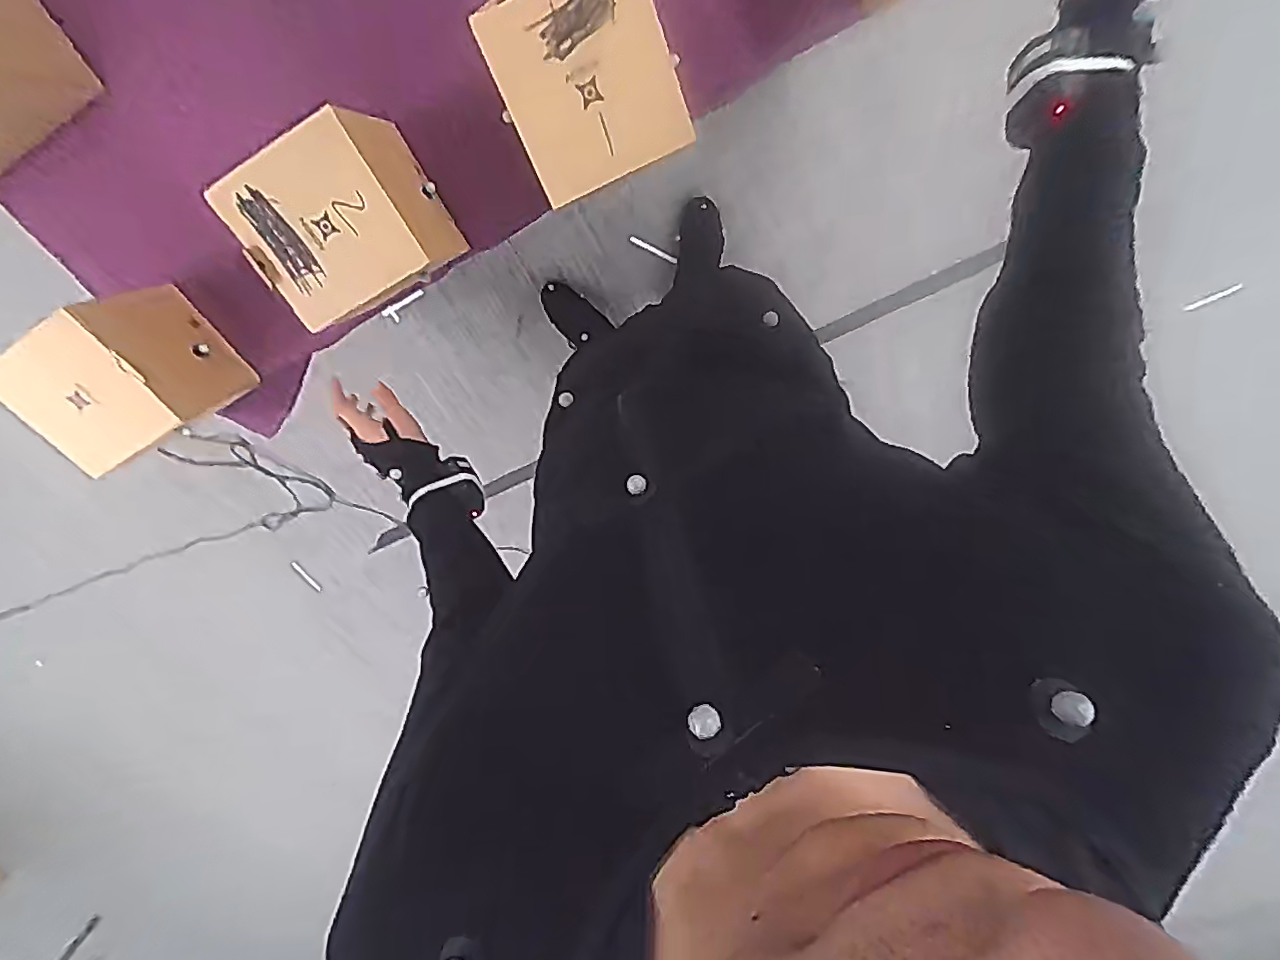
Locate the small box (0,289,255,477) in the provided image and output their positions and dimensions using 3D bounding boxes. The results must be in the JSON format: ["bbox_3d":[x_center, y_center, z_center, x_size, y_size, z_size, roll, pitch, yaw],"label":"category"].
[{"bbox_3d":[-0.692,-0.139,0.745,0.179,0.176,0.168,-27,115,13],"label":"small box"}]

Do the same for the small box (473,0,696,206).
[{"bbox_3d":[-0.050,-0.423,0.592,0.168,0.176,0.179,-21,117,11],"label":"small box"}]
